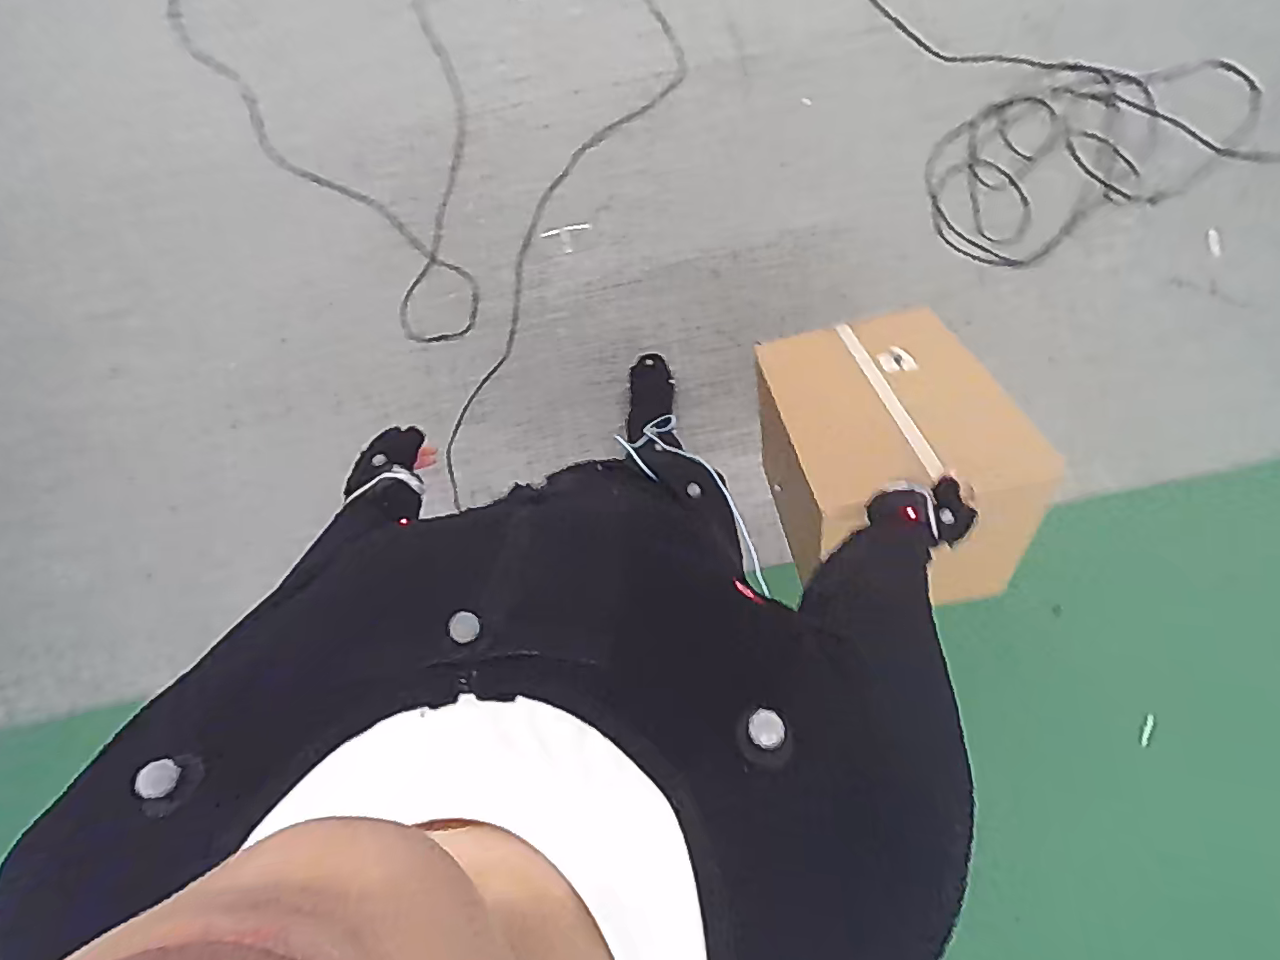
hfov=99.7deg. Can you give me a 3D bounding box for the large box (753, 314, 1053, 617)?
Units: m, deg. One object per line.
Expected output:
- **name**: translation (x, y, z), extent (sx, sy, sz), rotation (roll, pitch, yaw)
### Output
- **large box**: translation (0.407, -0.030, 0.957), extent (0.320, 0.408, 0.320), rotation (-11, 134, 5)
